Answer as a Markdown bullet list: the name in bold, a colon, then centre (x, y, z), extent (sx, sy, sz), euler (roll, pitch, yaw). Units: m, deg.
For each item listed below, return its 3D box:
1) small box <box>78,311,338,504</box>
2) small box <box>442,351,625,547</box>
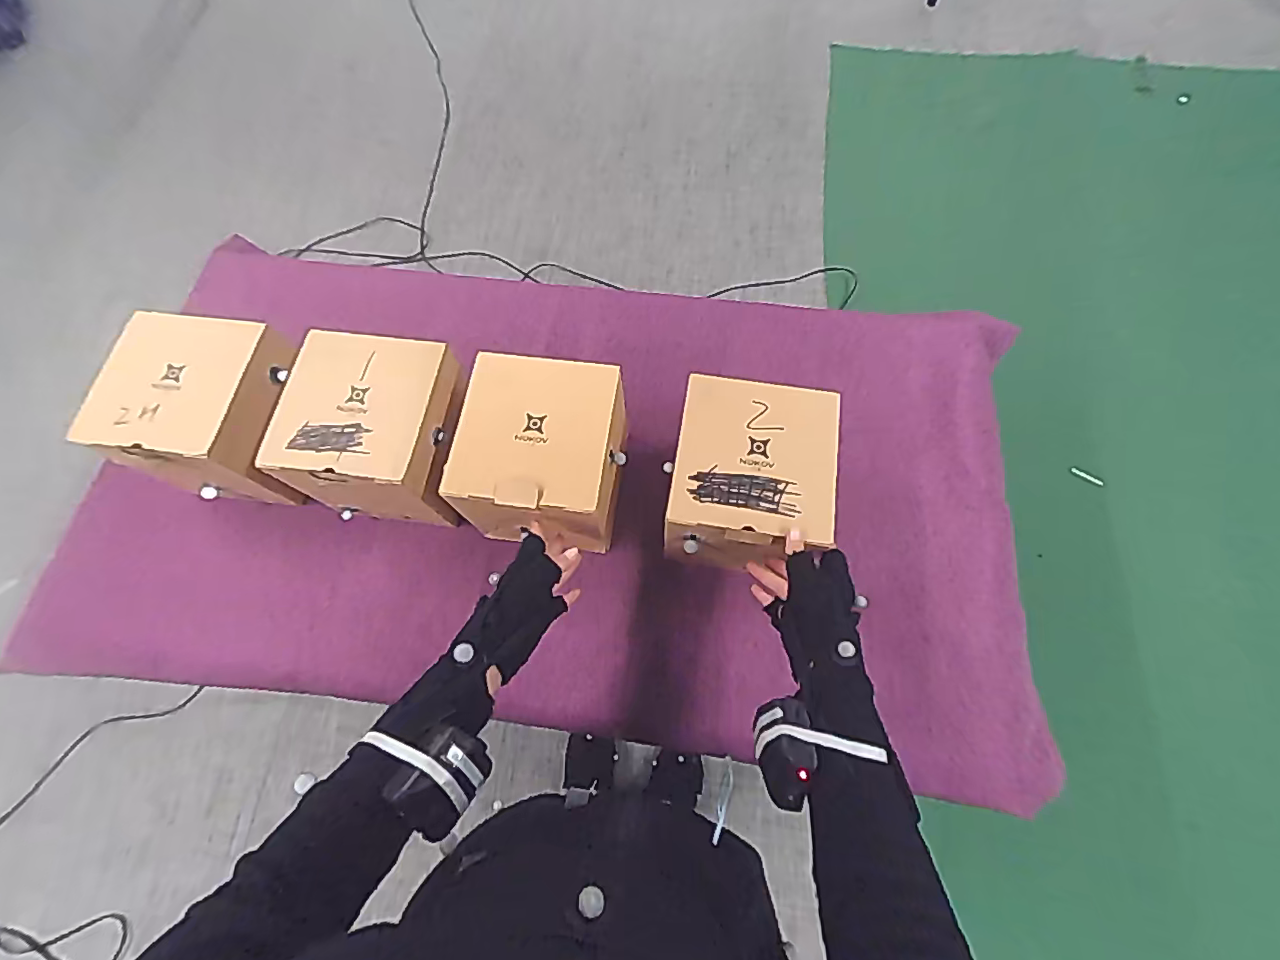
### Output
- **small box**: centre (-0.522, -0.085, 0.689), extent (0.168, 0.176, 0.179), euler (6, 70, 4)
- **small box**: centre (-0.112, -0.030, 0.659), extent (0.168, 0.176, 0.179), euler (7, 70, 5)
